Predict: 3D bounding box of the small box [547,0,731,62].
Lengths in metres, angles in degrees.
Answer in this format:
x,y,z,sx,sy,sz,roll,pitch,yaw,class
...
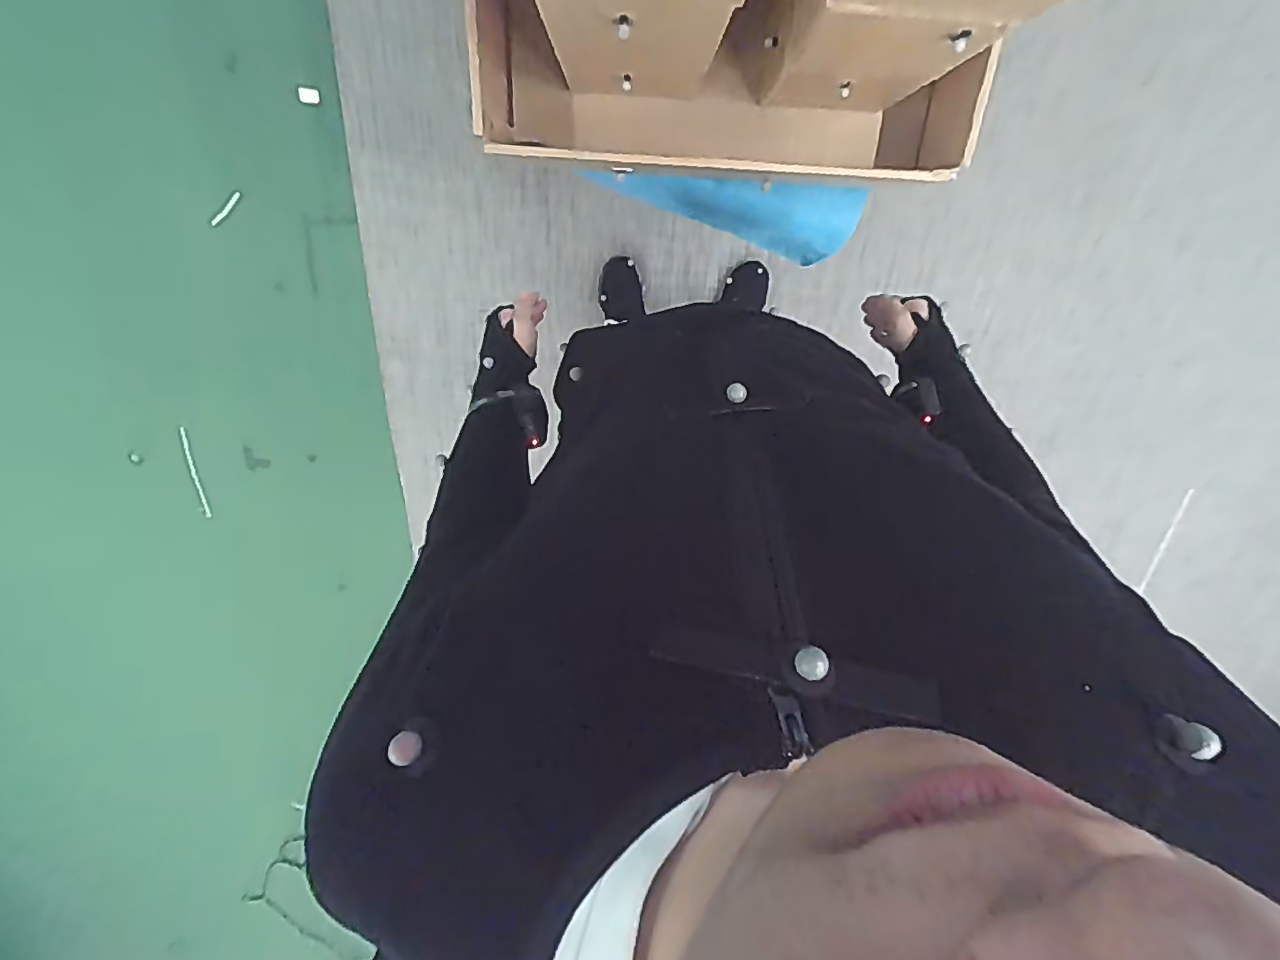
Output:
x,y,z,sx,sy,sz,roll,pitch,yaw,class
0.000,-0.513,0.499,0.179,0.176,0.168,2,113,-2,small box
